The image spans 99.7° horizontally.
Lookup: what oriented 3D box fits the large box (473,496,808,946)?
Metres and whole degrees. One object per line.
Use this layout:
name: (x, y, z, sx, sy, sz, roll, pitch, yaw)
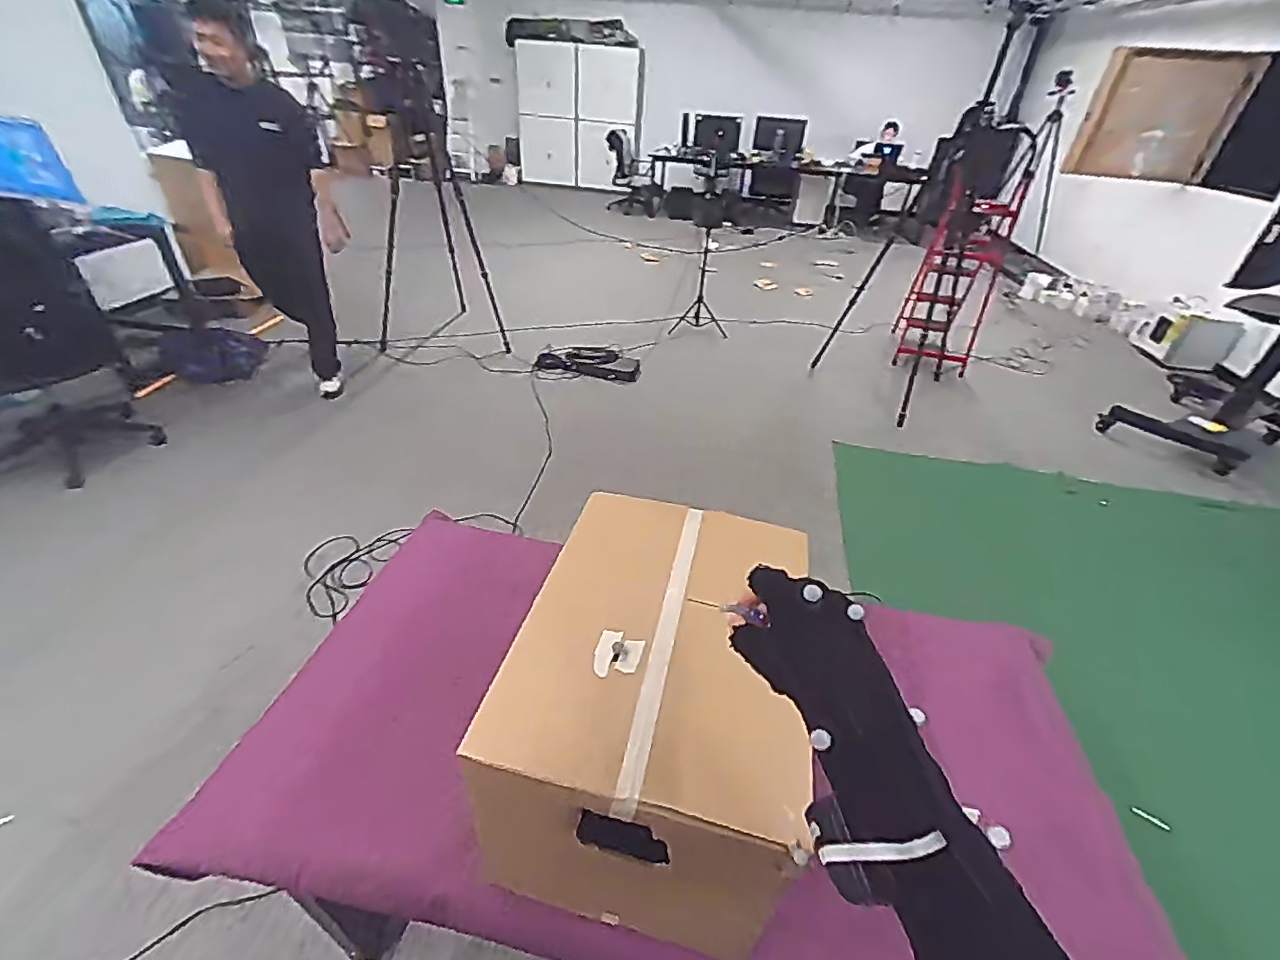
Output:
large box: (0.024, 0.284, 0.716, 0.320, 0.320, 0.408, 11, 37, 9)
